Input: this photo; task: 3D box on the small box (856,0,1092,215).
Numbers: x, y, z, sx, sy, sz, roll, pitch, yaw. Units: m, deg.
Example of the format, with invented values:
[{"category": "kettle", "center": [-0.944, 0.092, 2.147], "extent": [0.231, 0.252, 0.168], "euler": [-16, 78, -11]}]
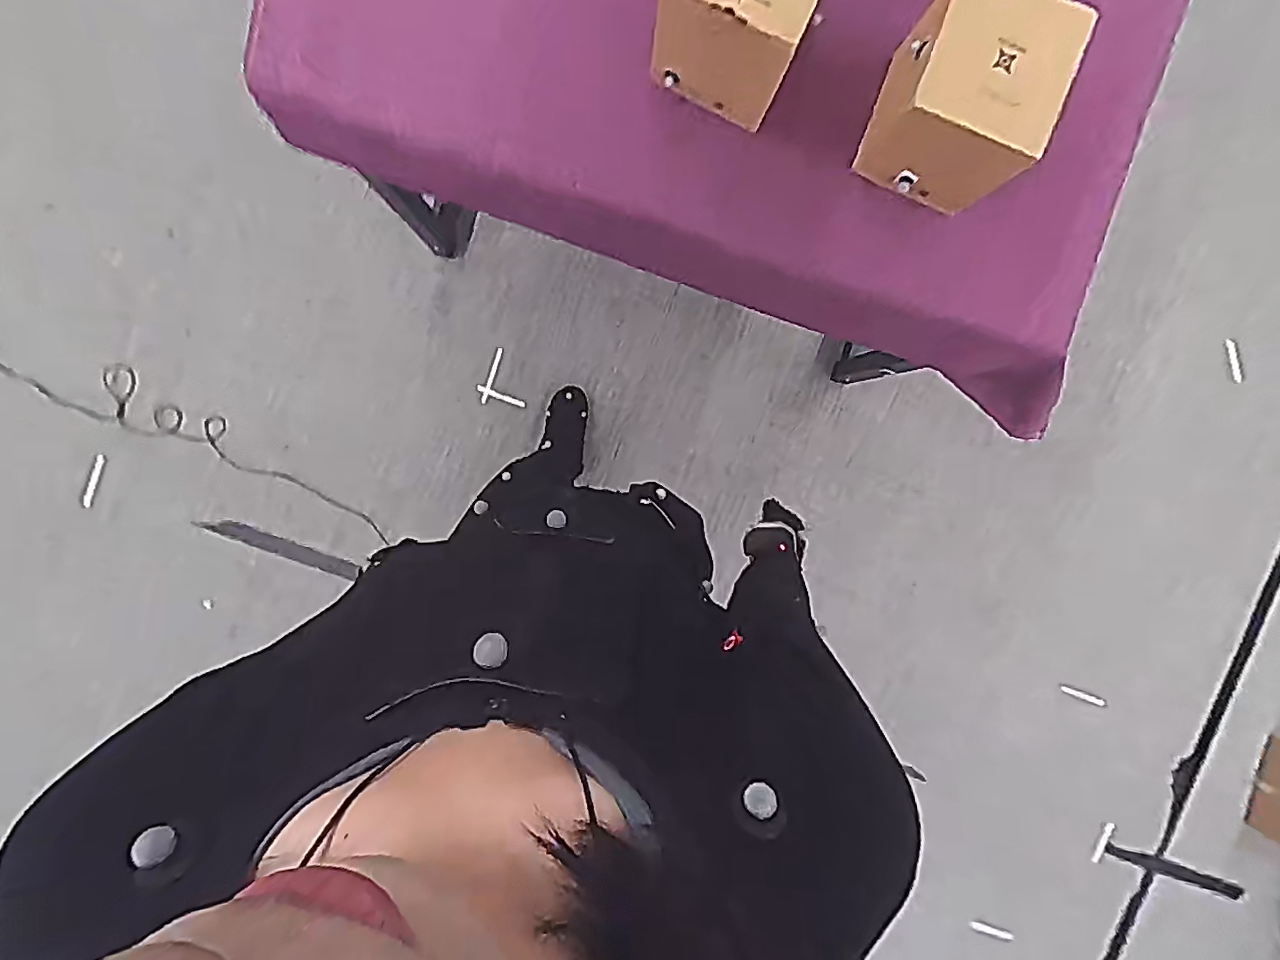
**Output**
[{"category": "small box", "center": [0.407, -0.481, 0.693], "extent": [0.168, 0.176, 0.179], "euler": [20, 93, -4]}]

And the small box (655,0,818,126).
[{"category": "small box", "center": [0.126, -0.588, 0.664], "extent": [0.168, 0.176, 0.179], "euler": [24, 91, -6]}]
